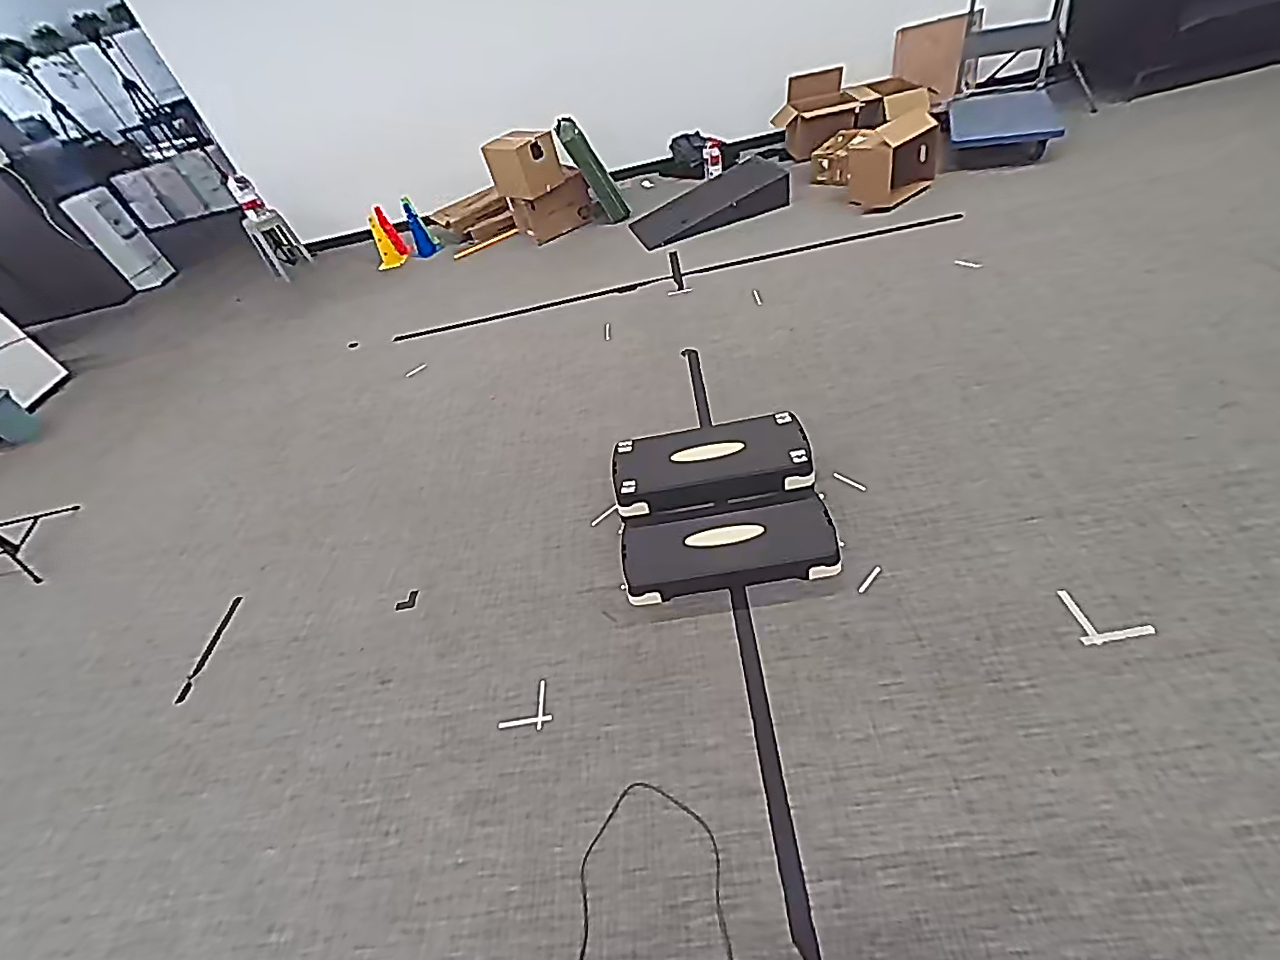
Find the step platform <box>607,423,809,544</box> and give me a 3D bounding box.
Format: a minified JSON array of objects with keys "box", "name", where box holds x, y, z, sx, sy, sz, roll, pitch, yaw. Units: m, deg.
[{"box":[0.227,0.007,1.883,0.684,0.204,0.286,-10,45,4],"name":"step platform"}]
